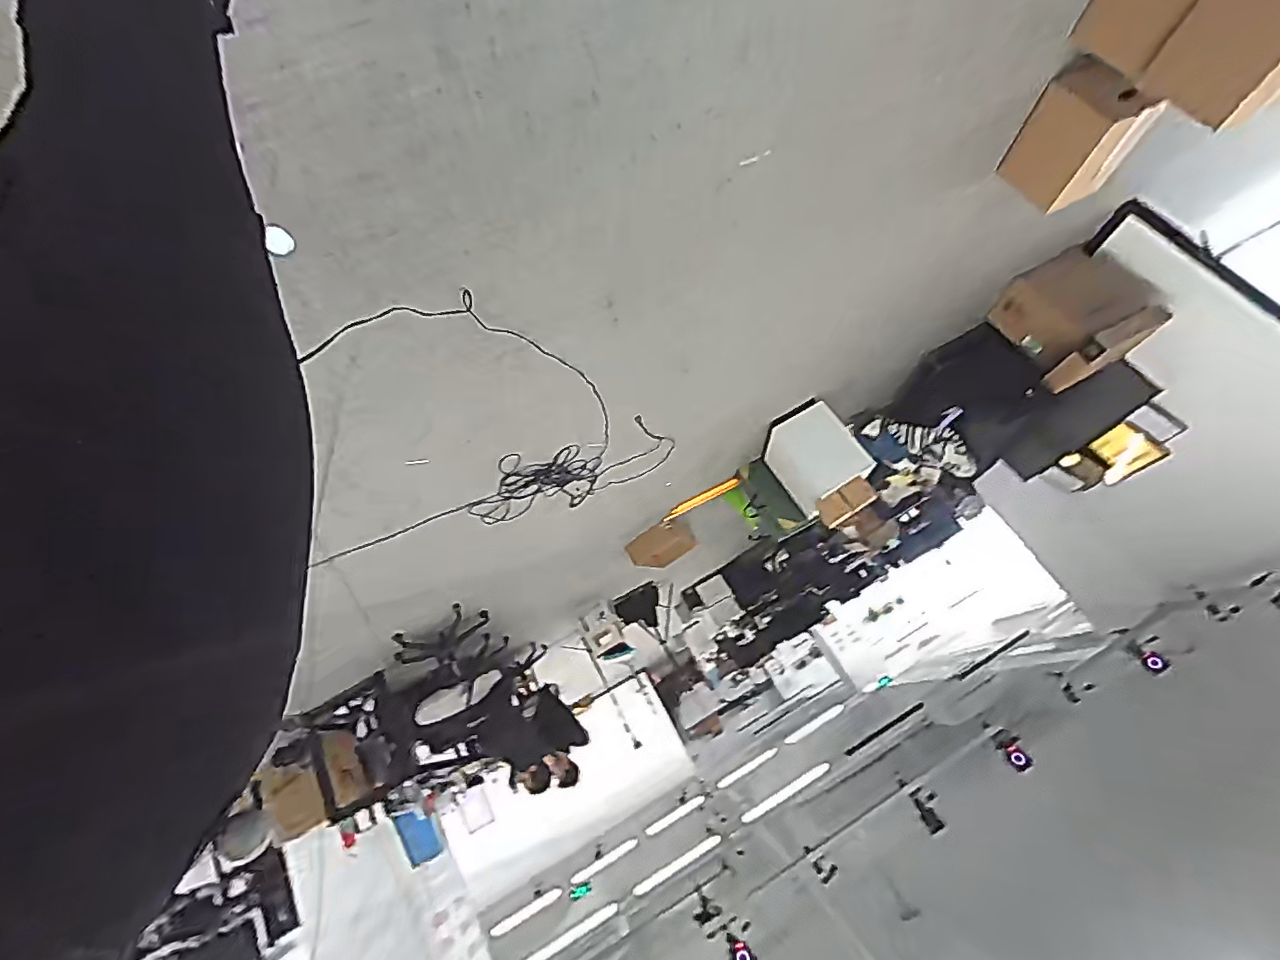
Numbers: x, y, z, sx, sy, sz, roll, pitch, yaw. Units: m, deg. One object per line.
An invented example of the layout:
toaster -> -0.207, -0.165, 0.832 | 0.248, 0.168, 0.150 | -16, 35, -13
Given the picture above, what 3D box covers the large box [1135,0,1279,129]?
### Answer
large box -> 1.835, -1.356, 1.590 | 0.320, 0.320, 0.408 | -25, 157, -10
